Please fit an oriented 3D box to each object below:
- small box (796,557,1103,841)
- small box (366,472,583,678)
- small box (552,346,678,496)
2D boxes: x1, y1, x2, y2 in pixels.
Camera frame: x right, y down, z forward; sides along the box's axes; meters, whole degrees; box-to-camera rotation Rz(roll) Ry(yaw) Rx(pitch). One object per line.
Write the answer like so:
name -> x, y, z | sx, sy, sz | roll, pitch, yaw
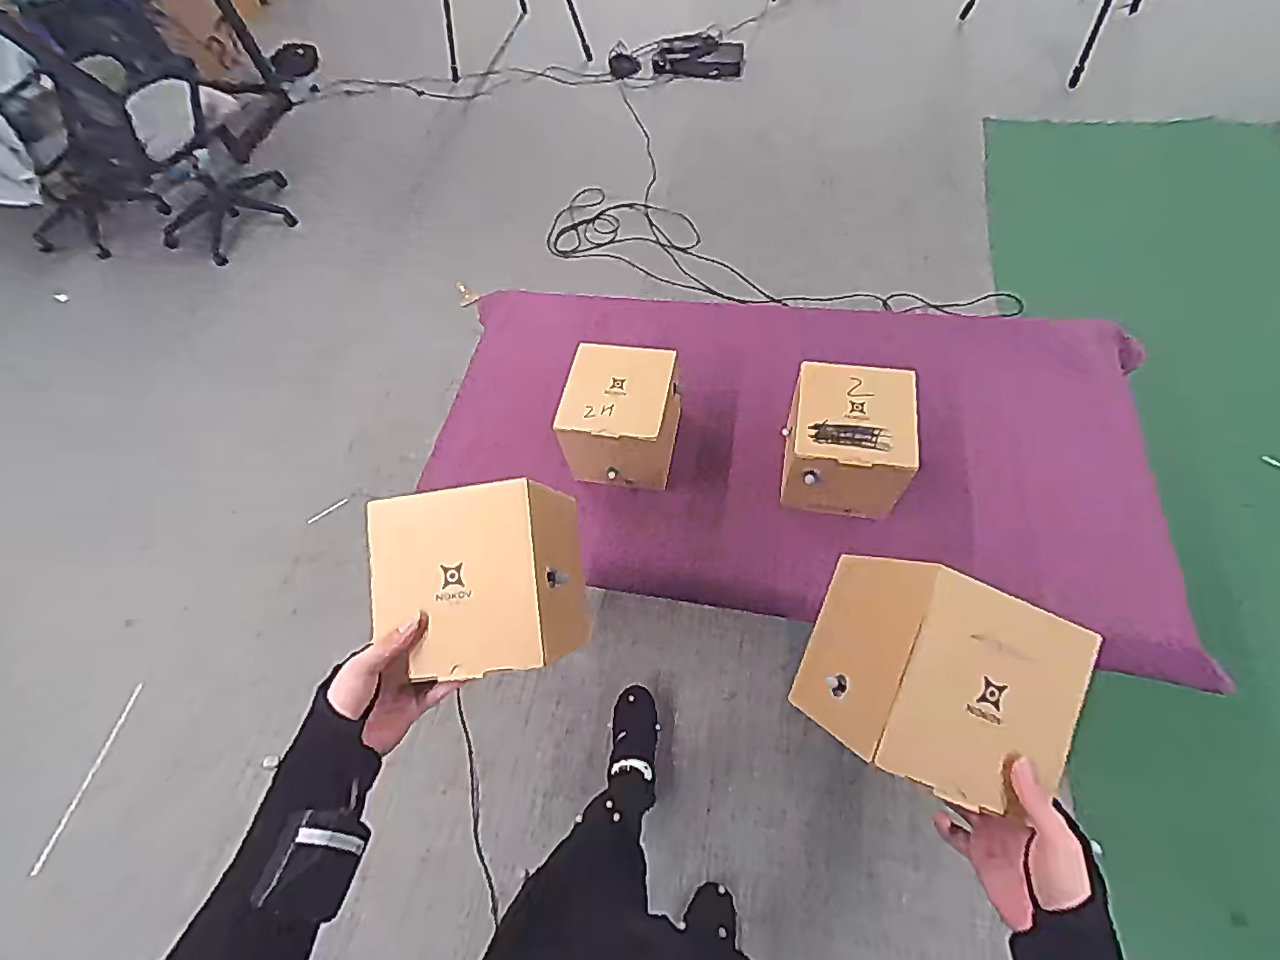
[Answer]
small box -> 0.274, 0.187, 0.519 | 0.168, 0.176, 0.179 | 25, 82, -5
small box -> -0.163, 0.098, 0.573 | 0.168, 0.176, 0.179 | -8, 81, 7
small box -> -0.030, -0.097, 0.907 | 0.168, 0.176, 0.179 | 8, 62, 11
